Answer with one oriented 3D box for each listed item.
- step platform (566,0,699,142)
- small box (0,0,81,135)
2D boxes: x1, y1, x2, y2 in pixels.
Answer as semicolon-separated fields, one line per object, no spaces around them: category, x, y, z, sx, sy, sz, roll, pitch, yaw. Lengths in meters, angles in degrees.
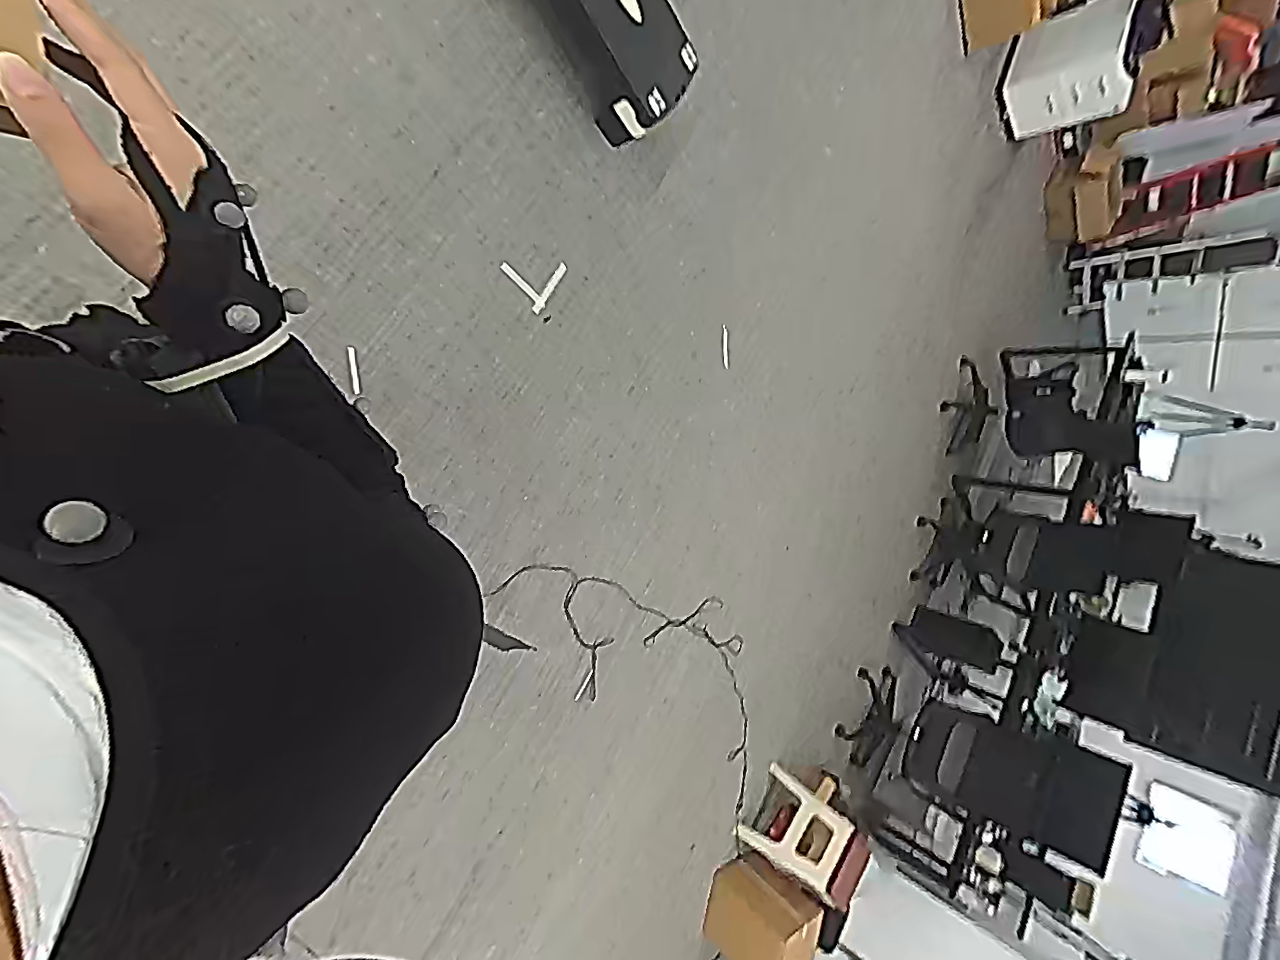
step platform;-0.124;-1.285;1.402;0.684;0.204;0.286;42;70;-38
small box;-0.349;-0.258;0.206;0.168;0.176;0.179;-10;117;-47
